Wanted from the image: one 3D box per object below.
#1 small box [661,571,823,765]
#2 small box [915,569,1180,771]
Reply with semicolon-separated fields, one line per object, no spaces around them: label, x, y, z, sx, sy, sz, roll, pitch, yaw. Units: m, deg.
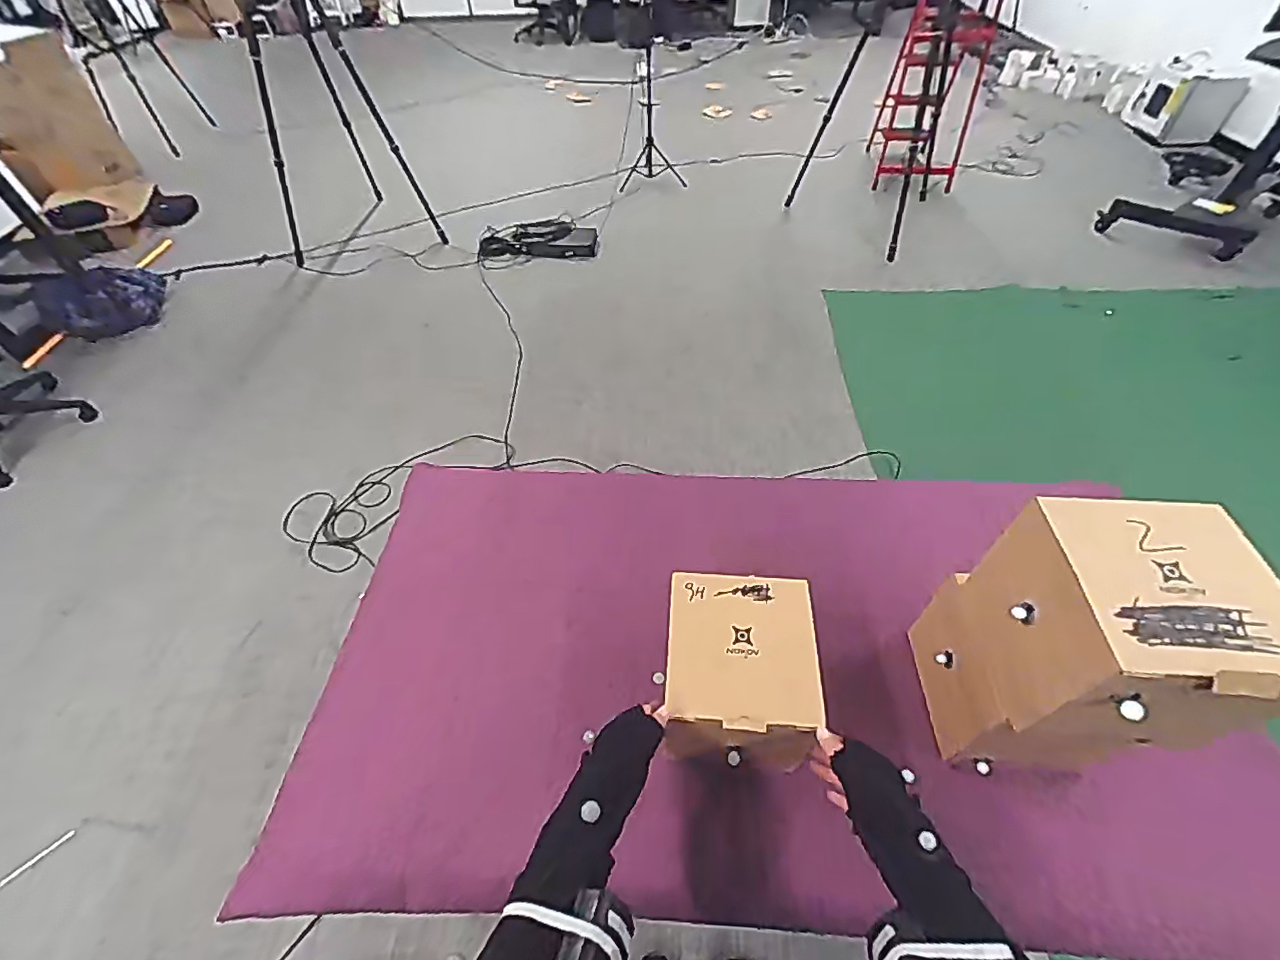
small box;0.115;0.233;0.660;0.168;0.176;0.179;4;51;5
small box;0.456;0.230;0.645;0.168;0.176;0.179;5;51;4
